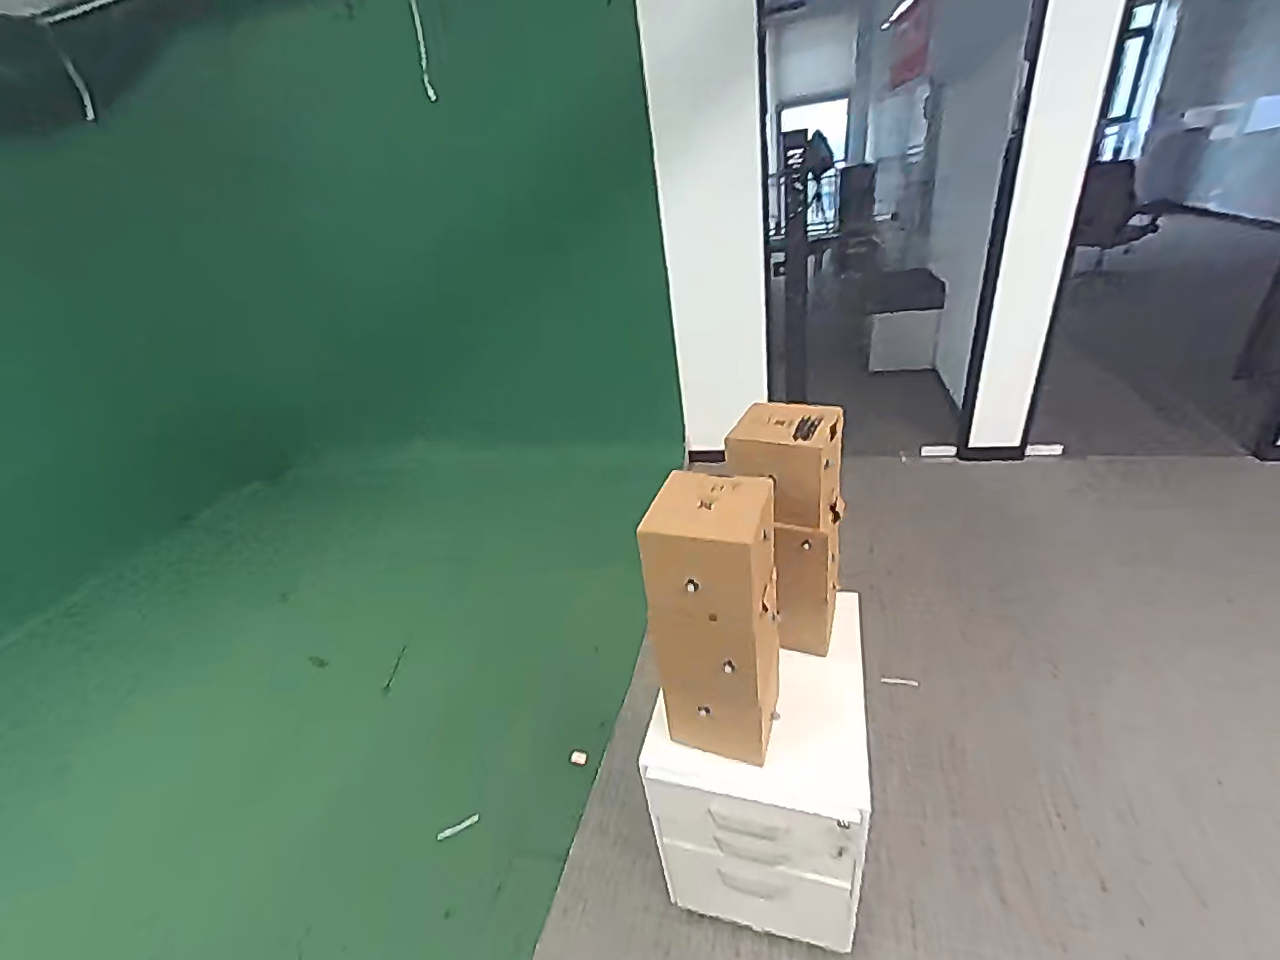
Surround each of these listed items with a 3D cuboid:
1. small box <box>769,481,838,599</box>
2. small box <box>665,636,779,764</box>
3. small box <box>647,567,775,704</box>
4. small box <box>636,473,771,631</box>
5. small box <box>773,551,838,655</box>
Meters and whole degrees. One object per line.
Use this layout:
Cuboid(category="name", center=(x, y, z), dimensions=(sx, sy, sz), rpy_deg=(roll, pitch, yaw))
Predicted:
Cuboid(category="small box", center=(0.301, 0.120, 1.101), dimensions=(0.179, 0.176, 0.168), rpy_deg=(6, 34, 24))
Cuboid(category="small box", center=(0.155, 0.390, 1.003), dimensions=(0.179, 0.176, 0.168), rpy_deg=(6, 33, 23))
Cuboid(category="small box", center=(0.130, 0.252, 0.921), dimensions=(0.179, 0.176, 0.168), rpy_deg=(4, 31, 23))
Cuboid(category="small box", center=(0.109, 0.108, 0.843), dimensions=(0.168, 0.176, 0.179), rpy_deg=(5, 31, 22))
Cuboid(category="small box", center=(0.329, 0.257, 1.183), dimensions=(0.179, 0.176, 0.168), rpy_deg=(6, 33, 25))
